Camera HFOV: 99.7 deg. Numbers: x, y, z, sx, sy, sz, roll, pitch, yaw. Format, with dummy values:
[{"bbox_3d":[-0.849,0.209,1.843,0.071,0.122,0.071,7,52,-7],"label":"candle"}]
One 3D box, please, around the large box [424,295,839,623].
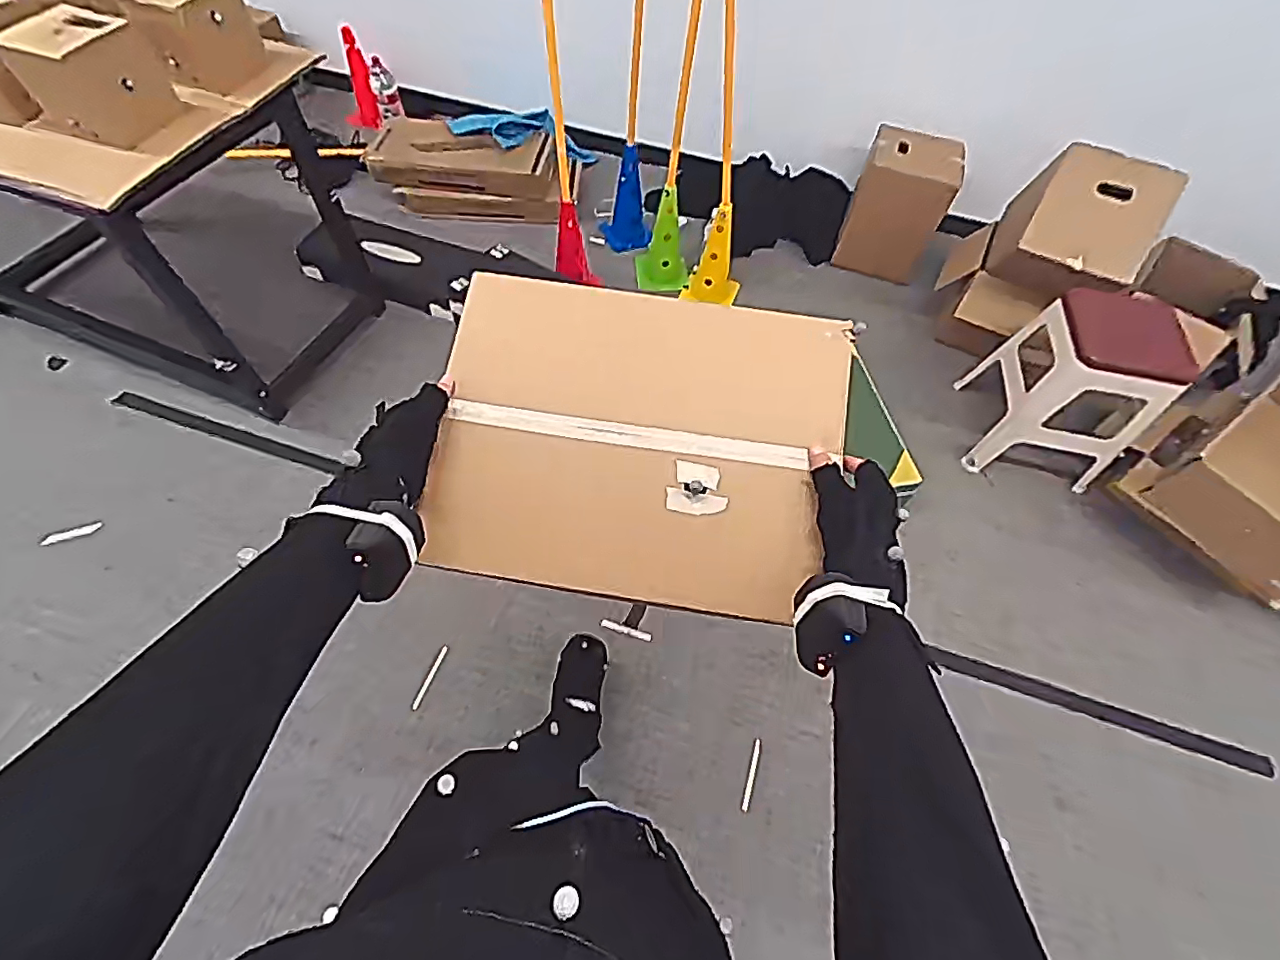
[{"bbox_3d":[-0.001,-0.002,0.709,0.408,0.320,0.320,9,78,2],"label":"large box"}]
